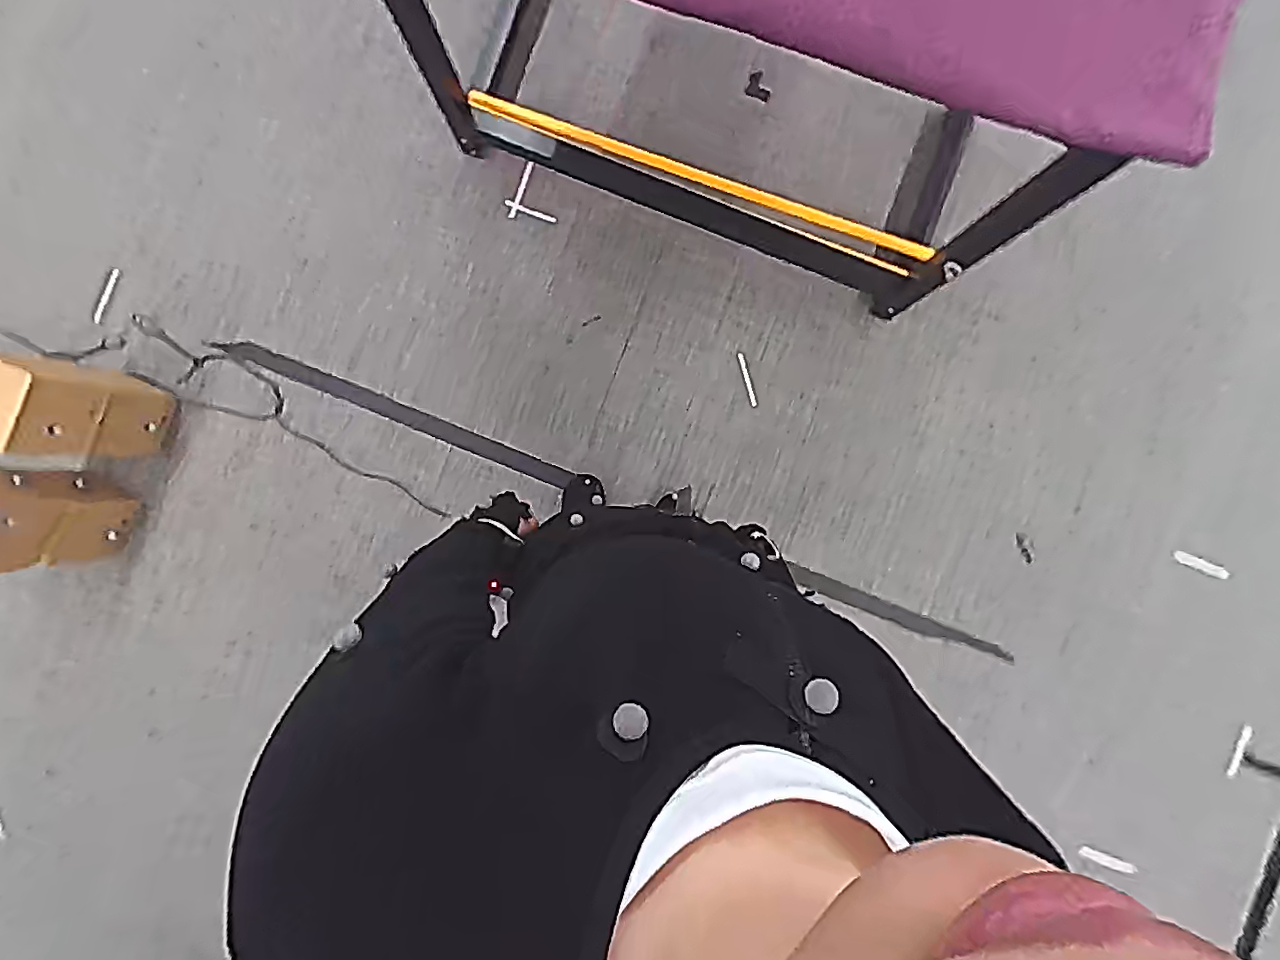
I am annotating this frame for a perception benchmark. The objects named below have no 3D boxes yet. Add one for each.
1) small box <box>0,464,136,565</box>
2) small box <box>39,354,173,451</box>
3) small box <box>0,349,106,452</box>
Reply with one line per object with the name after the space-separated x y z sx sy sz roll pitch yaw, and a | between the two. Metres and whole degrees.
-1.357 0.078 1.258 0.179 0.176 0.168 29 90 -2 | small box
-1.262 -0.169 1.259 0.179 0.176 0.168 23 91 -1 | small box
-1.261 -0.165 1.096 0.179 0.176 0.168 23 91 0 | small box
